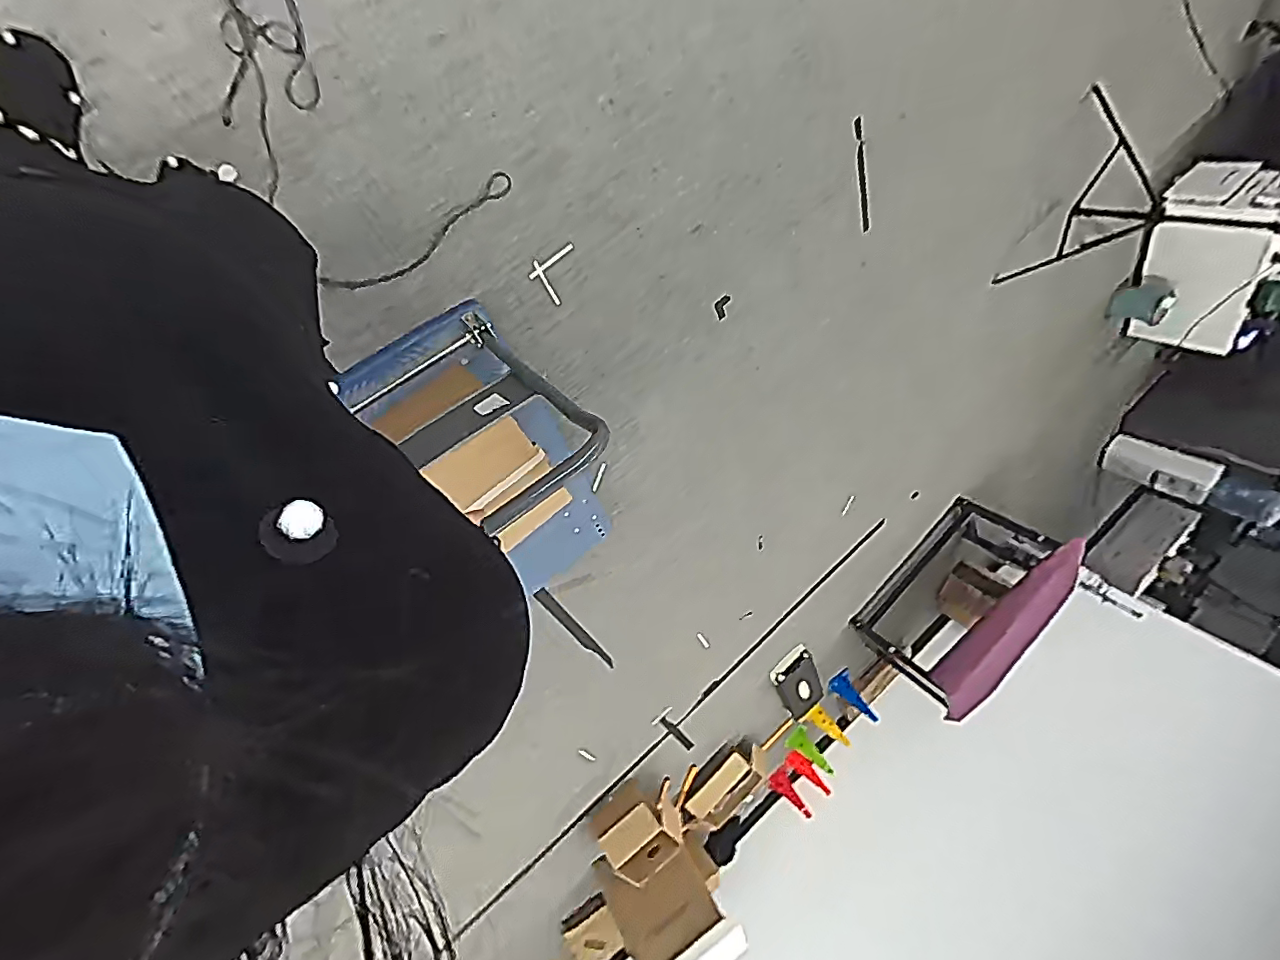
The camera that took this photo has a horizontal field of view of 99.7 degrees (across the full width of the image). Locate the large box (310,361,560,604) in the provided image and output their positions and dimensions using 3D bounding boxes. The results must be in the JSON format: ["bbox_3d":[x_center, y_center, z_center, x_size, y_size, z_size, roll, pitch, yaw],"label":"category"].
[{"bbox_3d":[-0.471,-0.007,1.257,0.408,0.320,0.320,-39,132,-10],"label":"large box"}]
